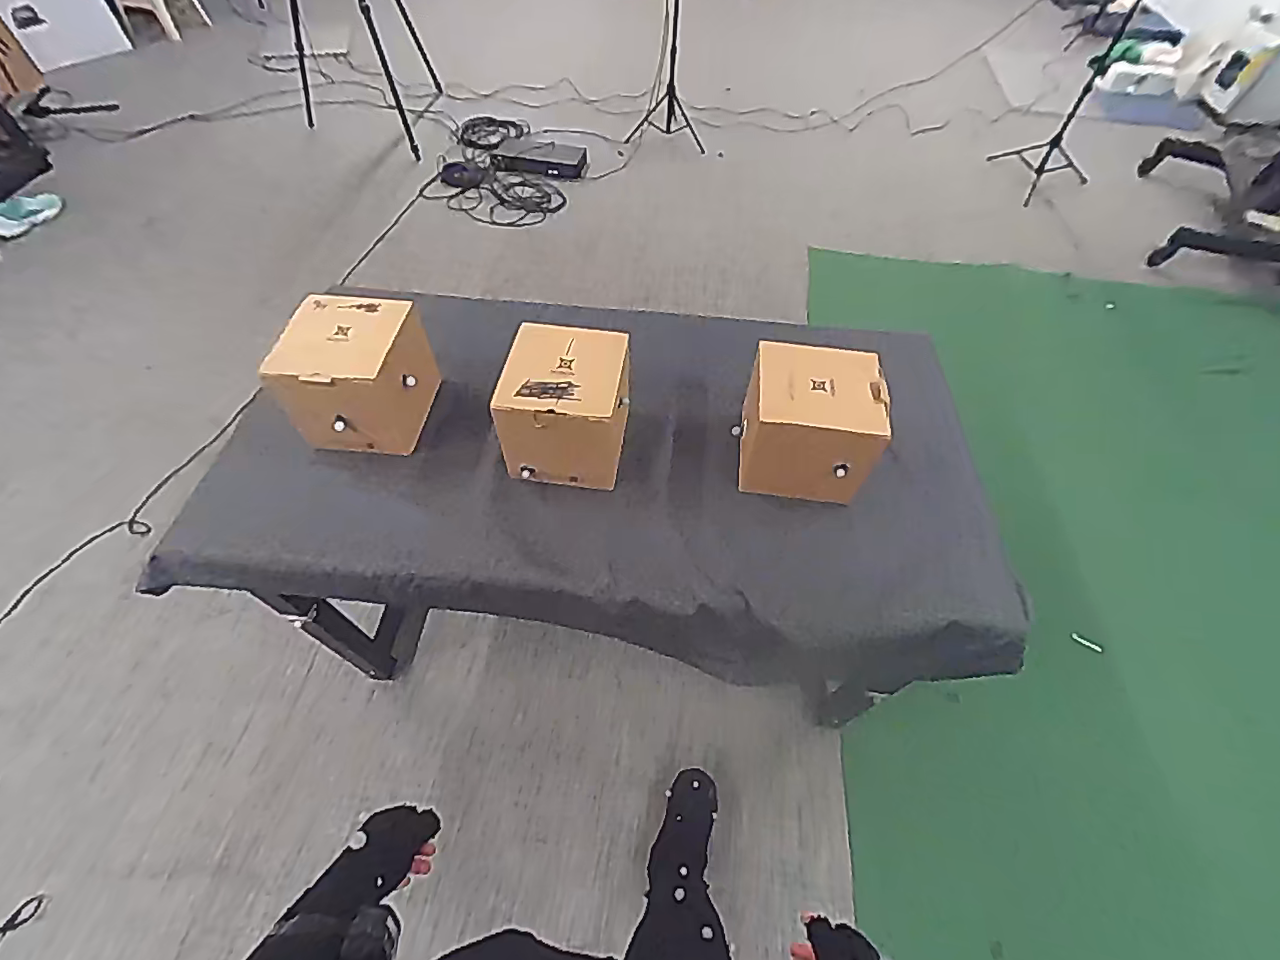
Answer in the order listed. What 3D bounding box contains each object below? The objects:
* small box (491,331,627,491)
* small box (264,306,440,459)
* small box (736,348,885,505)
[{"bbox_3d":[-0.112,-0.102,0.835,0.168,0.176,0.179,6,54,3],"label":"small box"},{"bbox_3d":[-0.439,-0.151,0.862,0.168,0.176,0.179,4,55,1],"label":"small box"},{"bbox_3d":[0.248,-0.077,0.827,0.179,0.176,0.168,5,53,5],"label":"small box"}]
